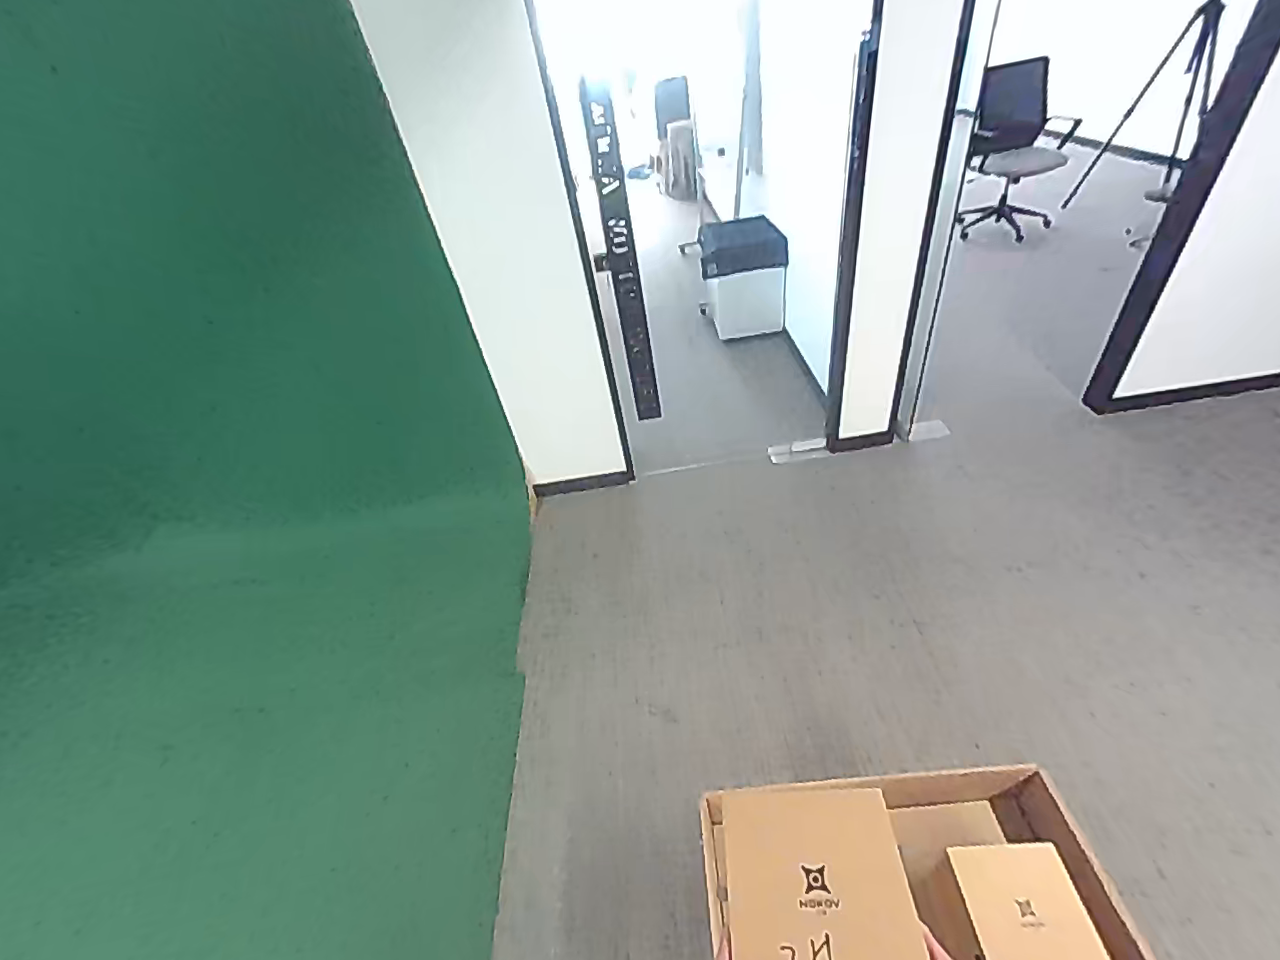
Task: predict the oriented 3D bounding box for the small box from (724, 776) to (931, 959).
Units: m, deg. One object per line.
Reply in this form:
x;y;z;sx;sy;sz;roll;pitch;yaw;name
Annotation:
0.178;0.428;0.546;0.168;0.176;0.179;-8;37;10;small box
